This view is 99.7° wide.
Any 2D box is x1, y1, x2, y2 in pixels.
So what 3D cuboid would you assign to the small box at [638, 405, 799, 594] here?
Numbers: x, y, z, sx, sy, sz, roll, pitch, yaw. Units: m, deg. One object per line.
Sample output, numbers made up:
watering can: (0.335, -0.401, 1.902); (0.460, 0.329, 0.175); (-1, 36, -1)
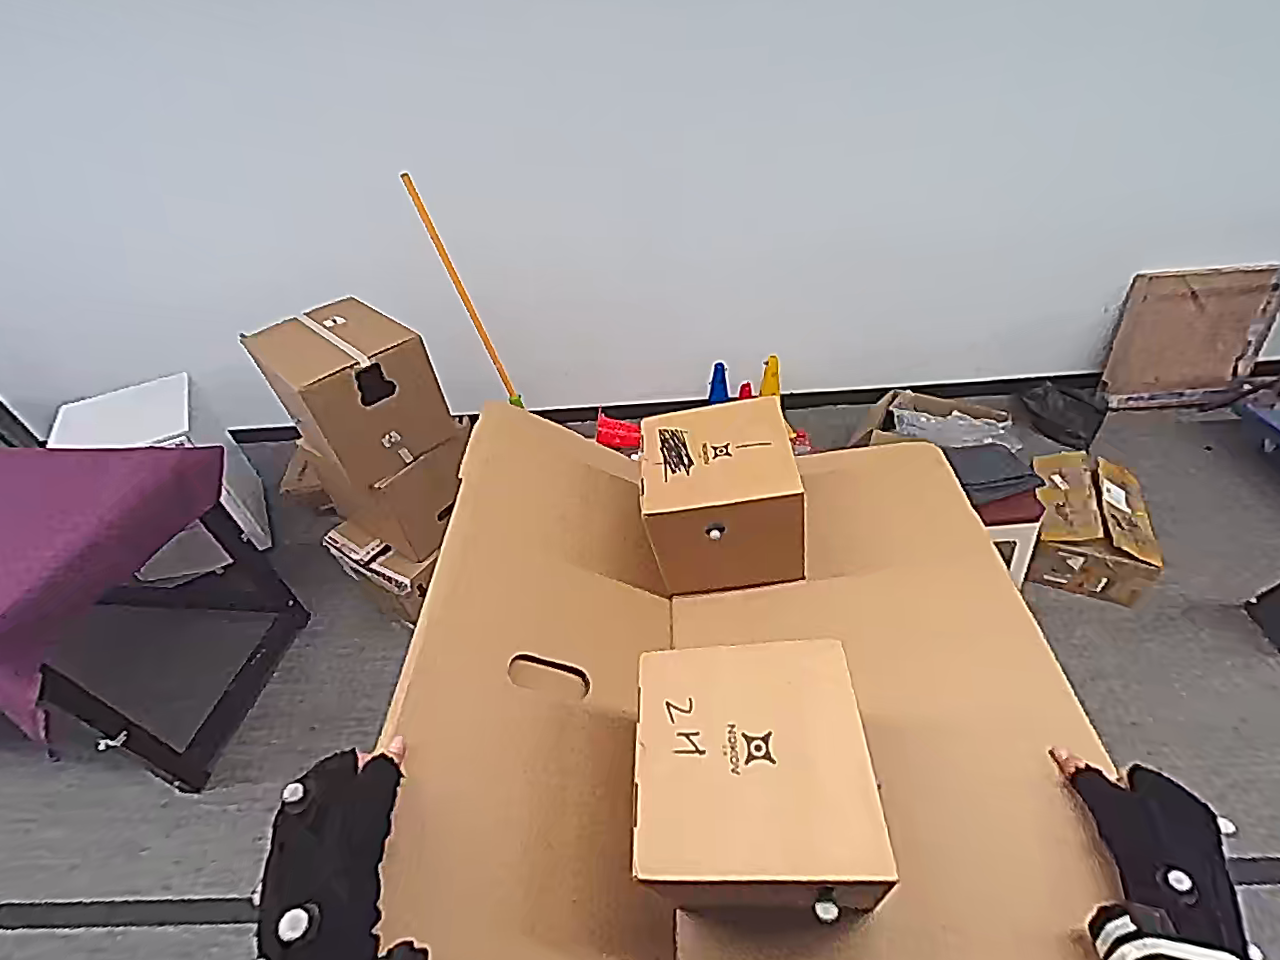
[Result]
small box: (0.101, 0.031, 0.696); (0.179, 0.176, 0.168); (-9, 46, 9)
